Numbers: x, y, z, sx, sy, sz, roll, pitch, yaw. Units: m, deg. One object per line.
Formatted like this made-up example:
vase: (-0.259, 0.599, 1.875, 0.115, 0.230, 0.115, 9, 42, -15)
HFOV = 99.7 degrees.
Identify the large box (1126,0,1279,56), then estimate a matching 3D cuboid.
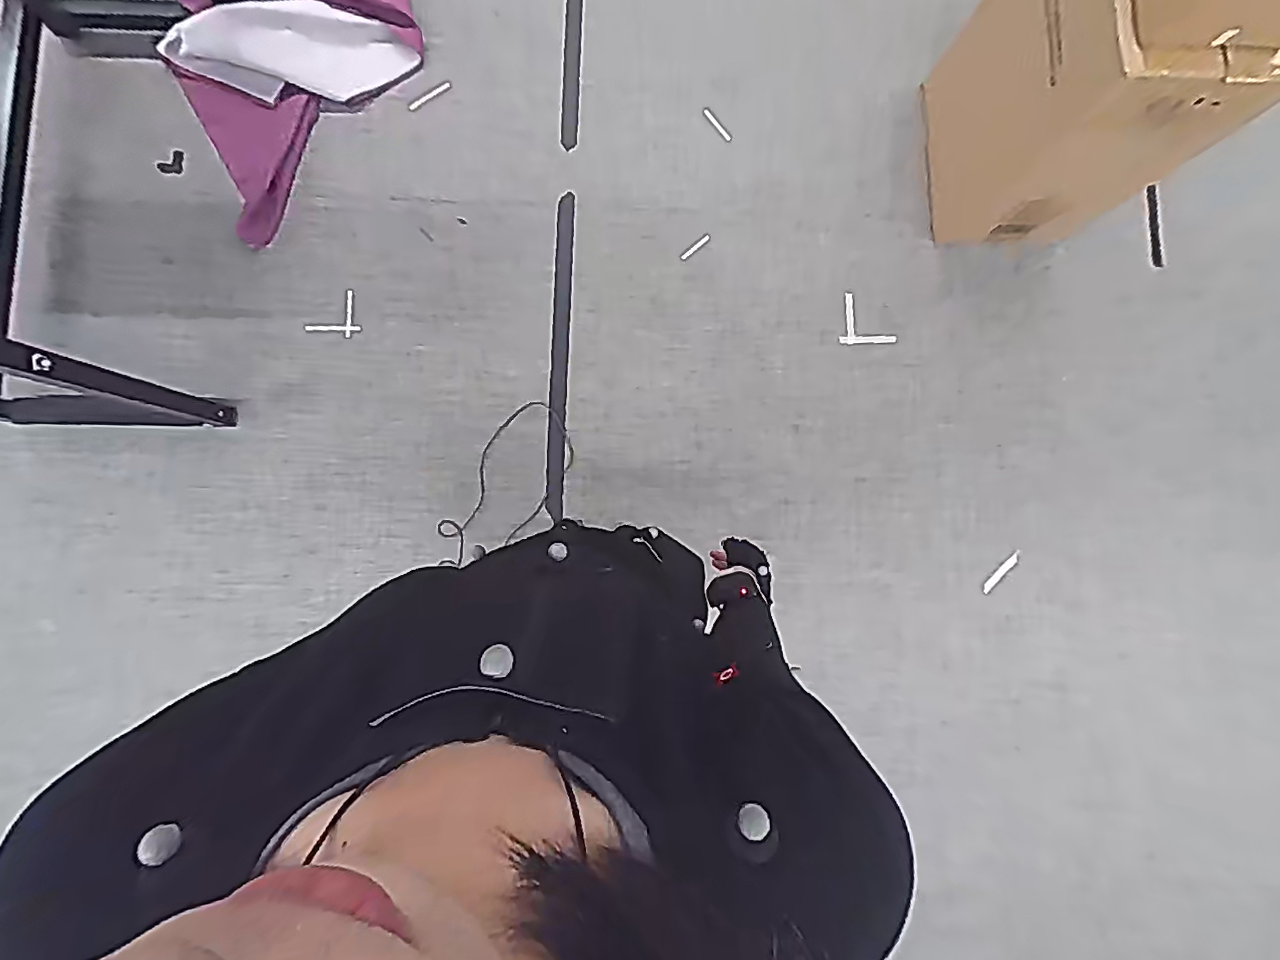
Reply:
large box: (1.109, -1.047, 0.930, 0.320, 0.320, 0.408, -2, 86, -3)
